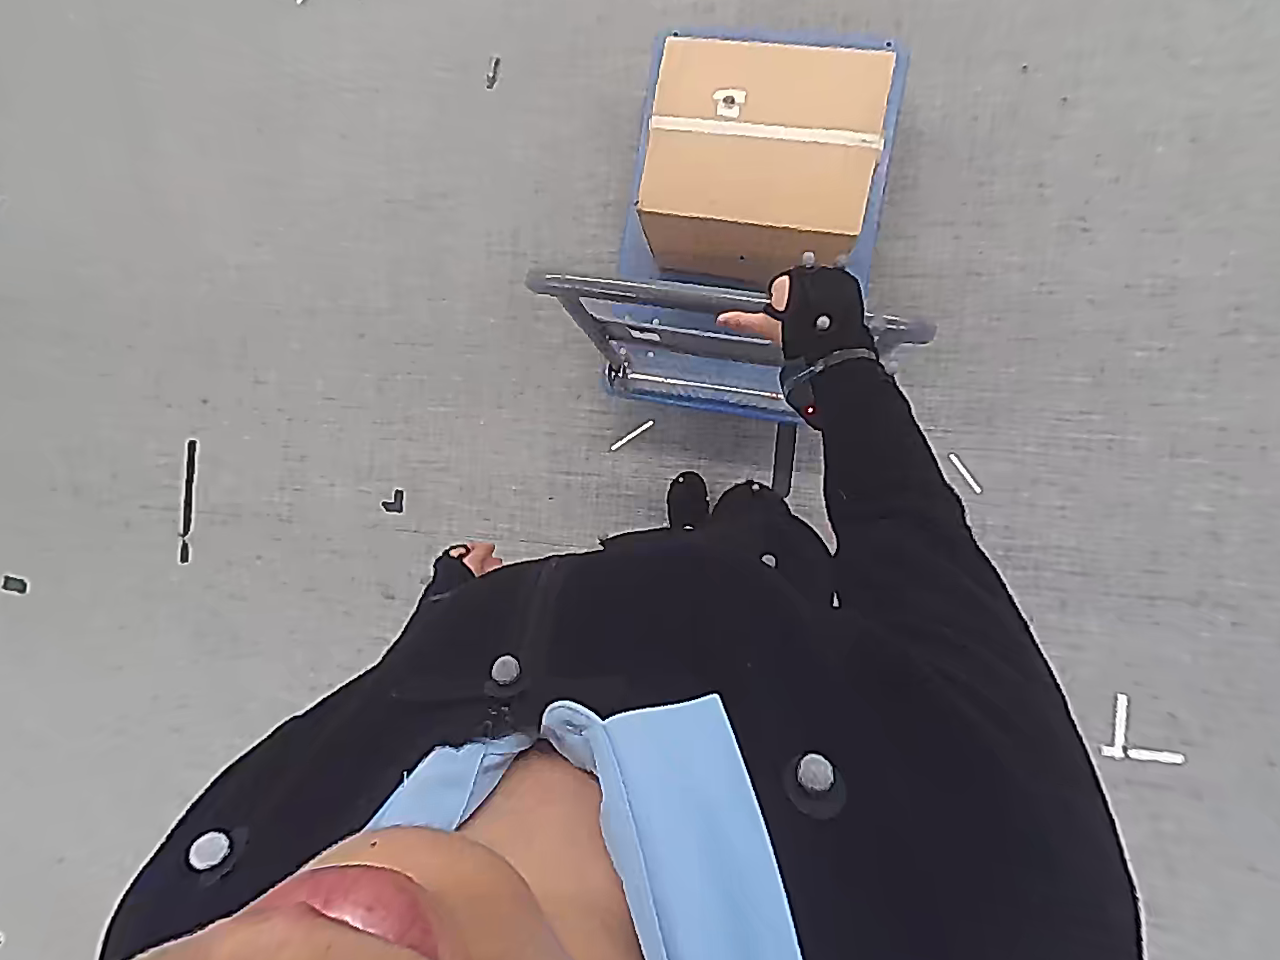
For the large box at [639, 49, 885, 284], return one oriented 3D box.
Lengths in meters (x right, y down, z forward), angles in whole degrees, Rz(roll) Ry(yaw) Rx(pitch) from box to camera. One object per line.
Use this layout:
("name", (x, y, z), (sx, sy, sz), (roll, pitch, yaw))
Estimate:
("large box", (0.240, -0.624, 1.125), (0.408, 0.320, 0.320), (10, 93, 10))
